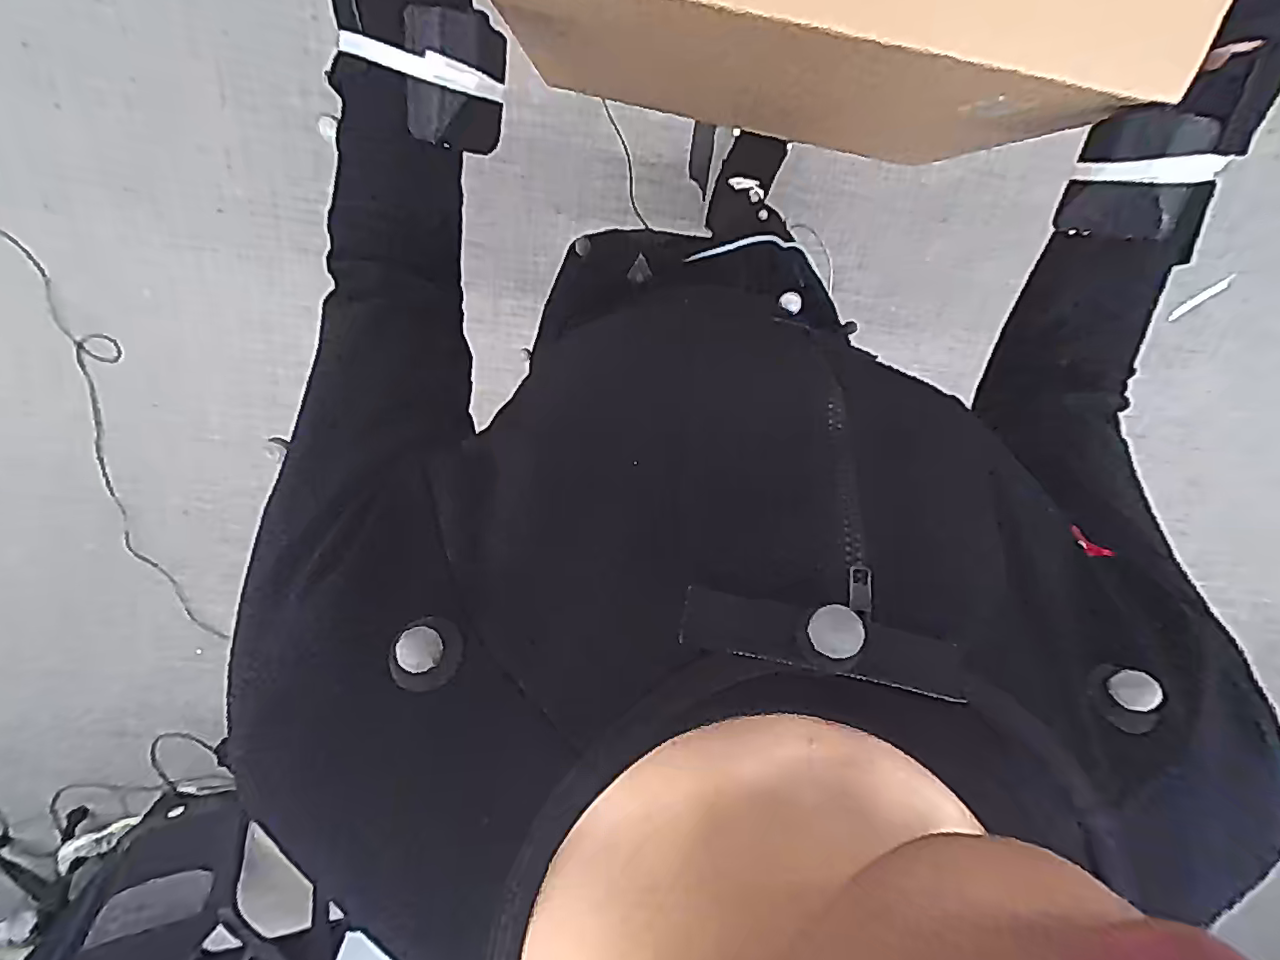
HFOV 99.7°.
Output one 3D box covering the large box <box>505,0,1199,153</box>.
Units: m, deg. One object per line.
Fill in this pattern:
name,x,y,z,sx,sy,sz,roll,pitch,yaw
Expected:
large box,0.125,-0.450,0.369,0.408,0.320,0.320,9,116,-4
